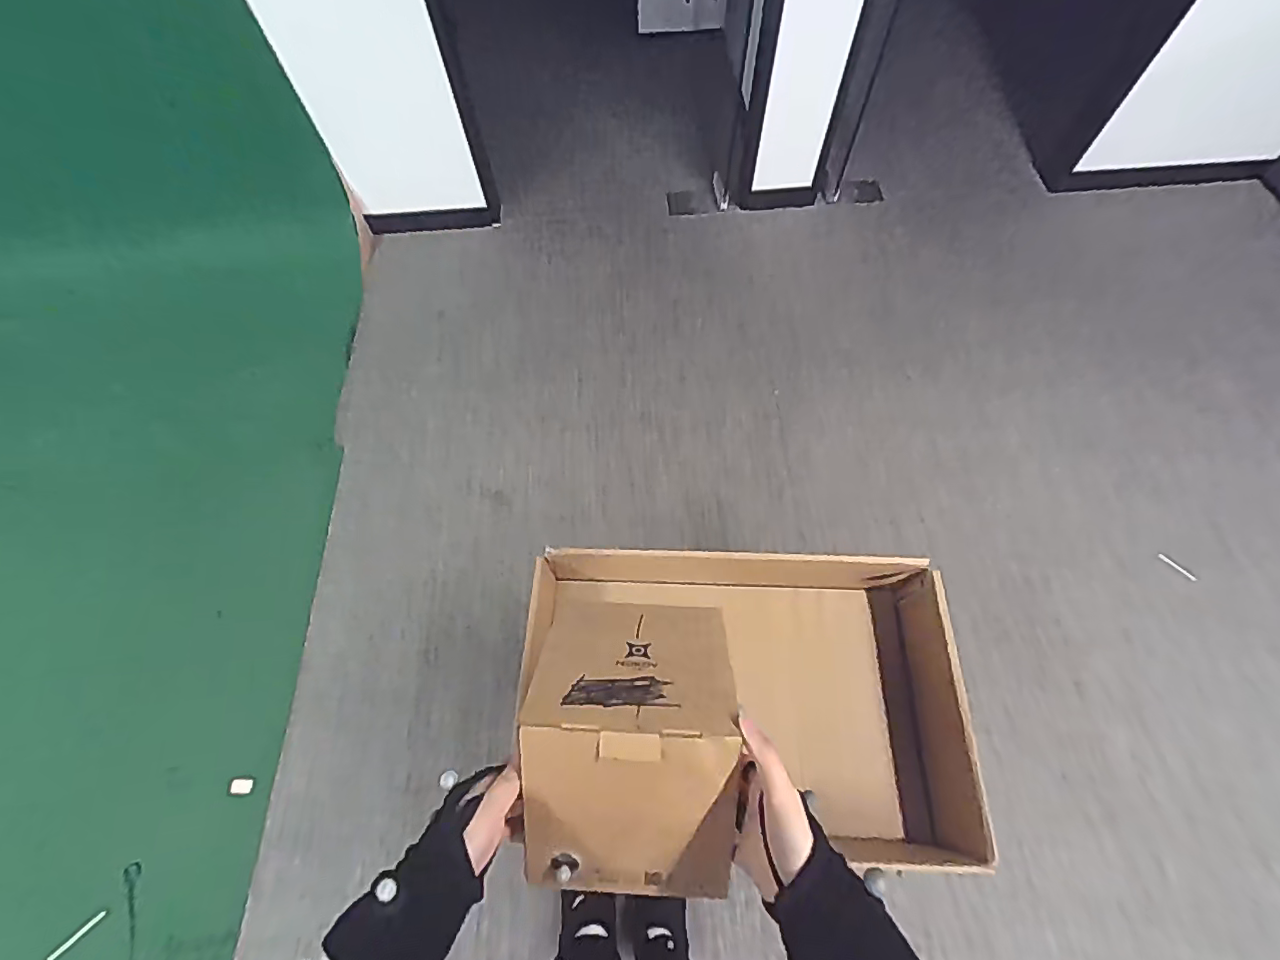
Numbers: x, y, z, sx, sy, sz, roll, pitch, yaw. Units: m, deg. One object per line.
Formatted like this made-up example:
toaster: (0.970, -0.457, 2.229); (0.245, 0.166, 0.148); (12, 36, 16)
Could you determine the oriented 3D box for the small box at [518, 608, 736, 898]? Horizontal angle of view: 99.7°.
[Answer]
small box: (-0.006, 0.239, 0.498); (0.168, 0.179, 0.176); (3, 107, 2)
